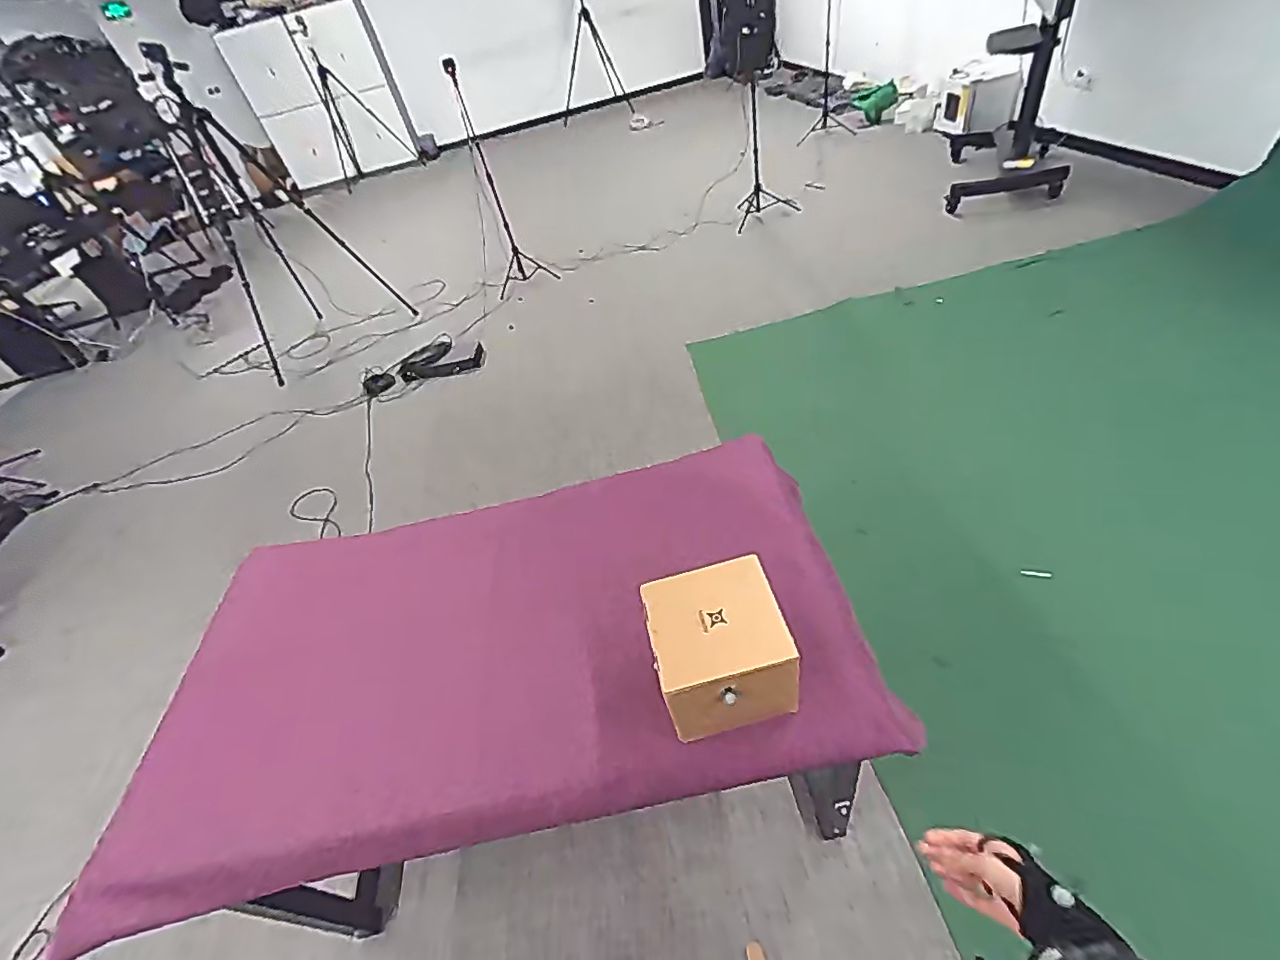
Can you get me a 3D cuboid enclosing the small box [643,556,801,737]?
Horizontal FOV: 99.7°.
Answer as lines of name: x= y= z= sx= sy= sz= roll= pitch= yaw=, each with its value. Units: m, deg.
small box: x=0.118 y=0.241 z=0.776 sx=0.179 sy=0.176 sz=0.168 roll=-17 pitch=44 yaw=2
